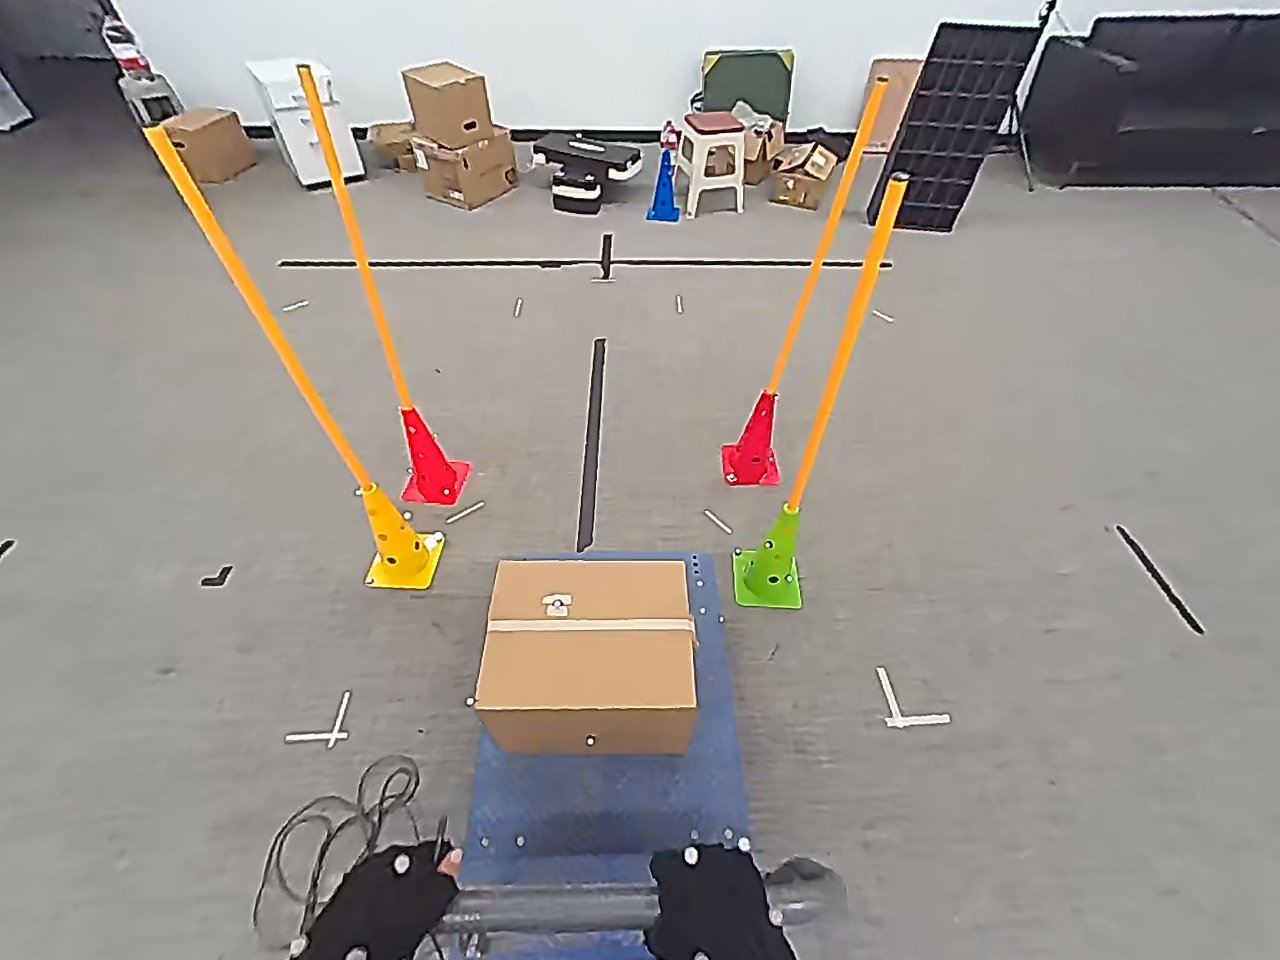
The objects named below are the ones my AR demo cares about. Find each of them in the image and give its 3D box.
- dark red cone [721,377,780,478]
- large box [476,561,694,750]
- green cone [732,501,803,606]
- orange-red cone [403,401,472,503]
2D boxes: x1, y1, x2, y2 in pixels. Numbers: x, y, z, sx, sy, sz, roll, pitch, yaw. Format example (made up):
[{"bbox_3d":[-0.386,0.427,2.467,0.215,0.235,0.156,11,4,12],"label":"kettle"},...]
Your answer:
[{"bbox_3d":[0.415,-0.188,1.872,0.201,0.394,0.202,2,50,-3],"label":"dark red cone"},{"bbox_3d":[-0.101,0.391,1.189,0.408,0.320,0.320,0,49,-1],"label":"large box"},{"bbox_3d":[0.399,0.190,1.568,0.202,0.368,0.200,4,49,0],"label":"green cone"},{"bbox_3d":[-0.714,-0.117,1.803,0.198,0.360,0.199,7,48,3],"label":"orange-red cone"}]
